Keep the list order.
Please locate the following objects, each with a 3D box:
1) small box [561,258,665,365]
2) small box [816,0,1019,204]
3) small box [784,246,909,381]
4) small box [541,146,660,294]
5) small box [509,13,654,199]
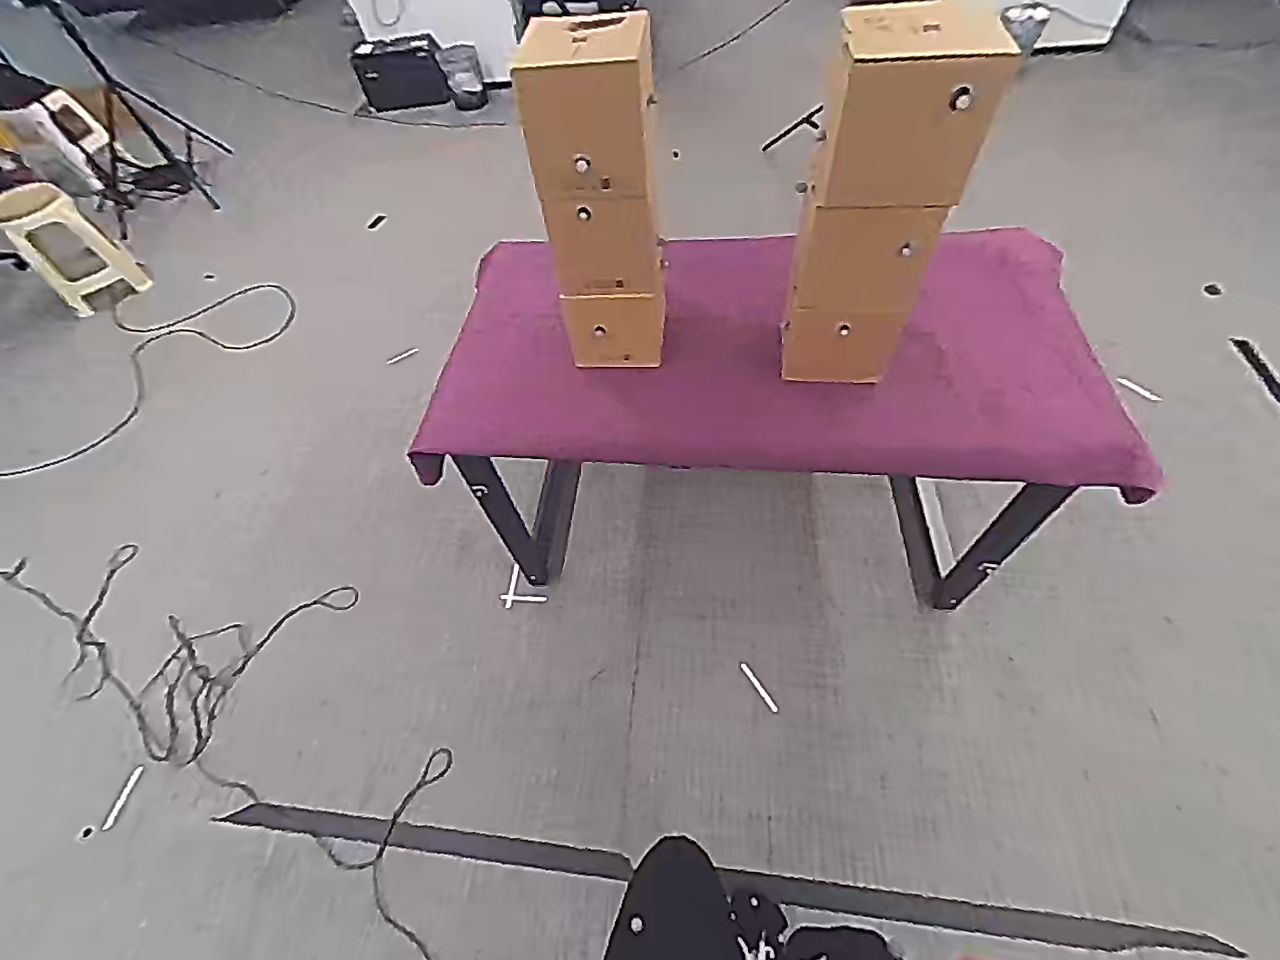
[{"bbox_3d":[-0.042,-0.335,1.036,0.168,0.176,0.179,1,55,7],"label":"small box"},{"bbox_3d":[0.332,-0.475,0.690,0.179,0.176,0.168,3,56,9],"label":"small box"},{"bbox_3d":[0.353,-0.293,0.963,0.179,0.176,0.168,4,57,8],"label":"small box"},{"bbox_3d":[-0.055,-0.434,0.907,0.168,0.176,0.179,-1,54,6],"label":"small box"},{"bbox_3d":[-0.070,-0.527,0.771,0.168,0.176,0.179,0,56,7],"label":"small box"}]
